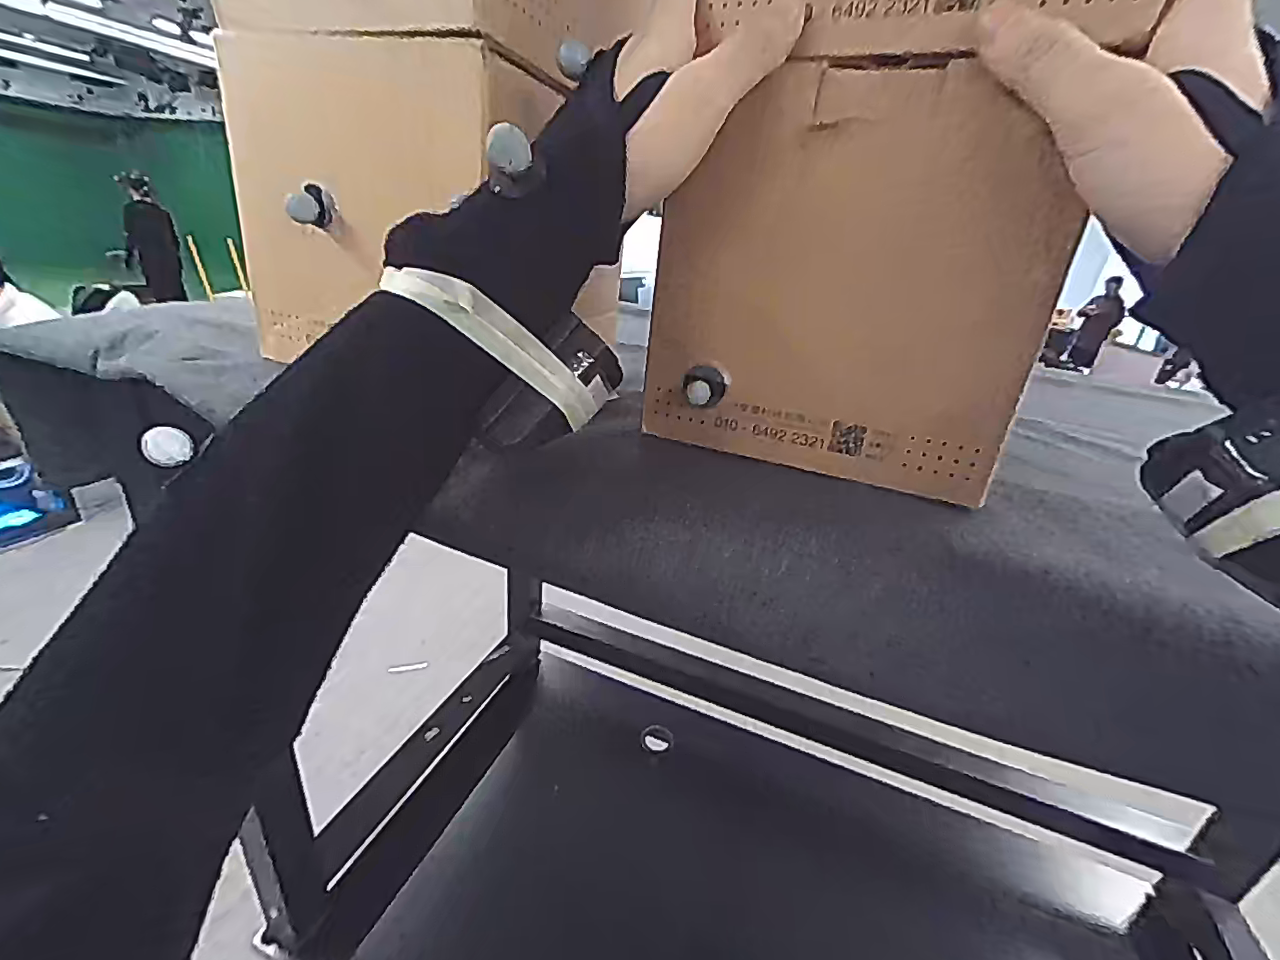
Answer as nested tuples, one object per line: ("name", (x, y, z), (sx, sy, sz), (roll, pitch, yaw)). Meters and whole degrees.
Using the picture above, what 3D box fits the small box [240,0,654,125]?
("small box", (-0.094, -0.302, 0.292), (0.168, 0.176, 0.179), (14, 24, 19))

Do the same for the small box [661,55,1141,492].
("small box", (0.118, -0.107, 0.307), (0.168, 0.176, 0.179), (15, 23, 19))

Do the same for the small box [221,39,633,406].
("small box", (-0.117, -0.154, 0.354), (0.168, 0.176, 0.179), (15, 23, 16))
